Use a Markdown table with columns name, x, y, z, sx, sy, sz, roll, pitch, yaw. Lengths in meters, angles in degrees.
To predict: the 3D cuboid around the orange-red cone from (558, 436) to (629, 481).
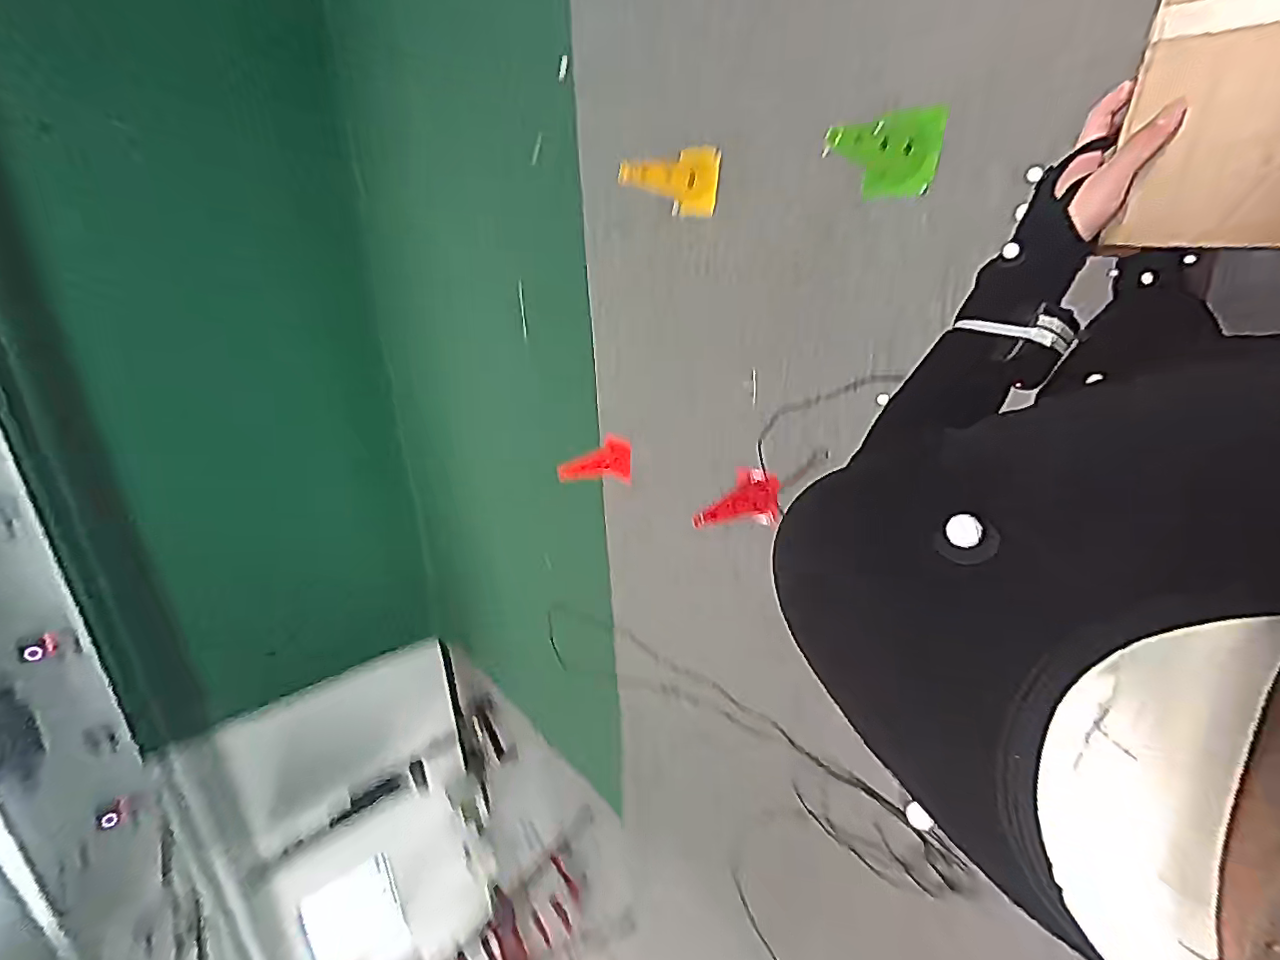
| name | x | y | z | sx | sy | sz | roll | pitch | yaw |
| --- | --- | --- | --- | --- | --- | --- | --- | --- | --- |
| orange-red cone | -0.246 | -0.068 | 2.663 | 0.198 | 0.360 | 0.199 | 27 | 125 | 43 |

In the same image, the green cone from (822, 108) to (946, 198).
| name | x | y | z | sx | sy | sz | roll | pitch | yaw |
| --- | --- | --- | --- | --- | --- | --- | --- | --- | --- |
| green cone | 0.581 | -0.843 | 1.366 | 0.202 | 0.368 | 0.200 | 26 | 122 | 44 |
